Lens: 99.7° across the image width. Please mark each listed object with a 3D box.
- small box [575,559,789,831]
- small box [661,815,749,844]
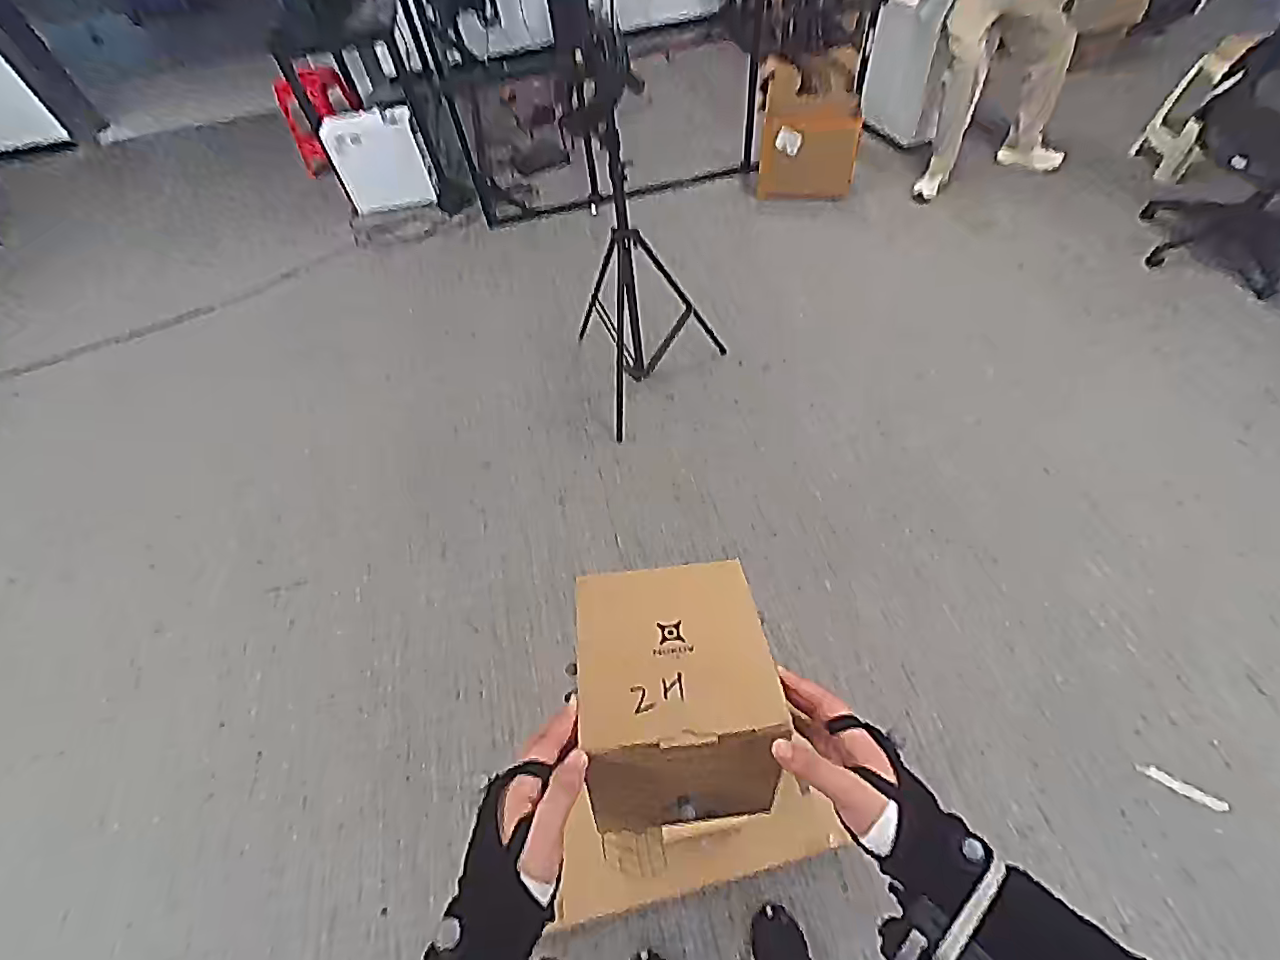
[{"bbox_3d":[0.028,0.202,0.519,0.168,0.176,0.179,-6,39,-3],"label":"small box"},{"bbox_3d":[0.118,0.635,1.122,0.168,0.176,0.179,-11,54,-1],"label":"small box"}]
